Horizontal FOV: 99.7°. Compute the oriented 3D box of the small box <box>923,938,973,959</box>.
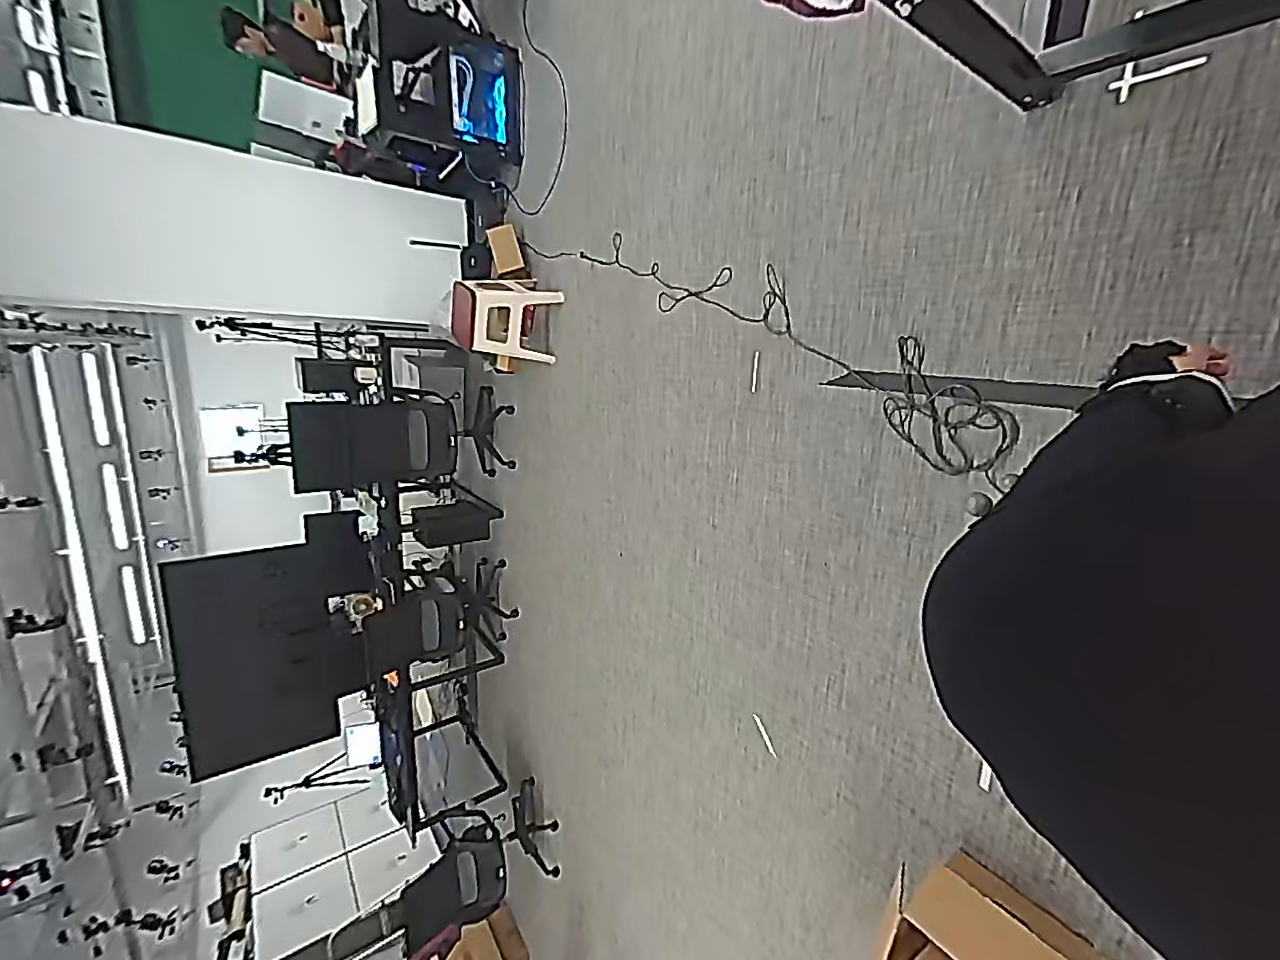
[{"bbox_3d":[0.716,1.220,1.235,0.168,0.176,0.179,31,121,51],"label":"small box"}]
